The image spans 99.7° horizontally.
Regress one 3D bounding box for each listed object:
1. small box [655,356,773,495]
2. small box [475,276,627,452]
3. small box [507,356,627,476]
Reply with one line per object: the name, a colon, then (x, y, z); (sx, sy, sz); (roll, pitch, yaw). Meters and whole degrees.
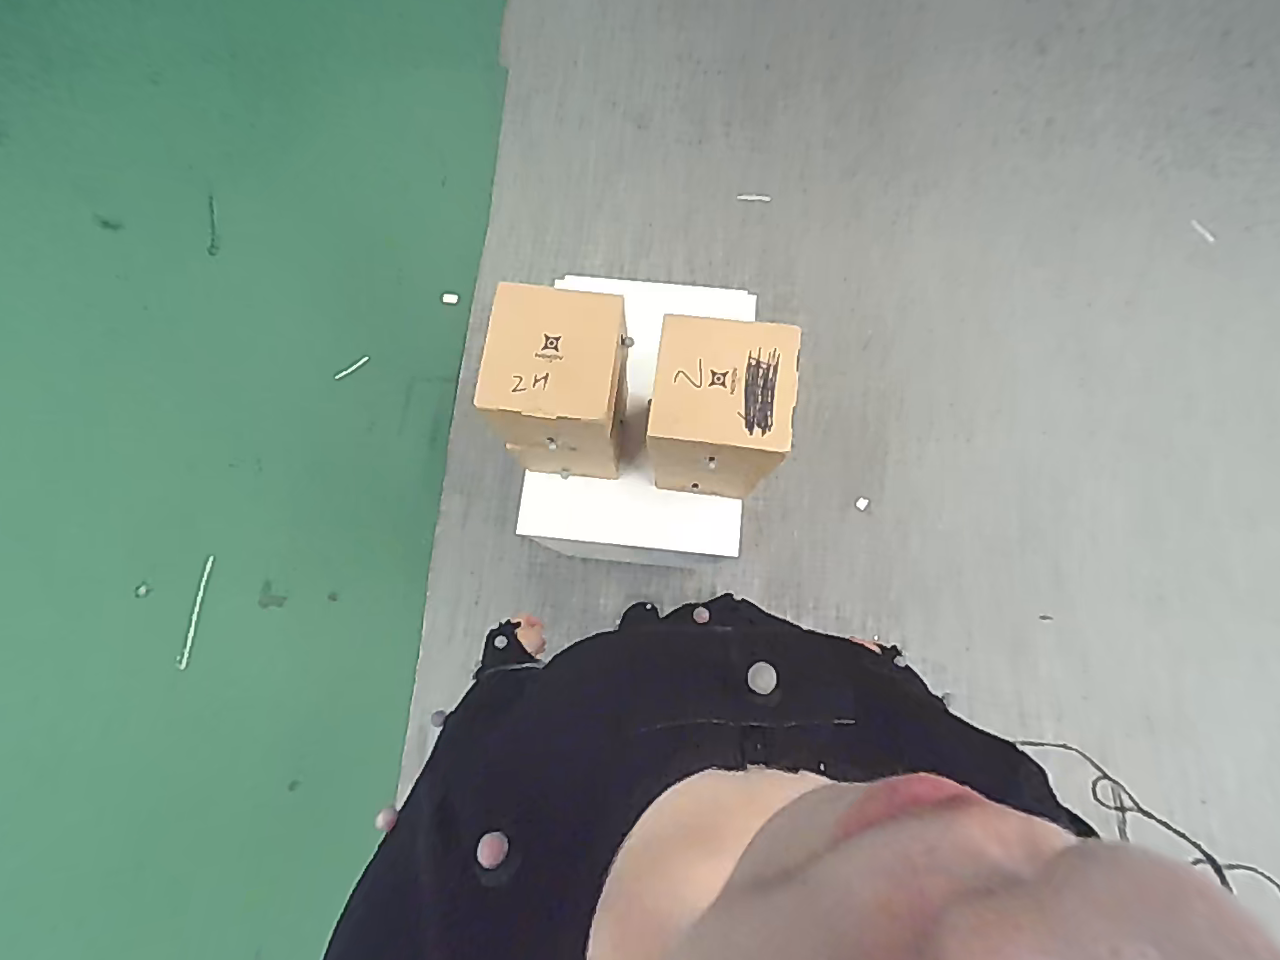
small box: (0.116, -0.084, 0.902); (0.168, 0.176, 0.179); (8, 79, 4)
small box: (-0.111, -0.152, 0.755); (0.168, 0.176, 0.179); (7, 78, 2)
small box: (-0.113, -0.115, 0.915); (0.168, 0.176, 0.179); (6, 79, 2)
